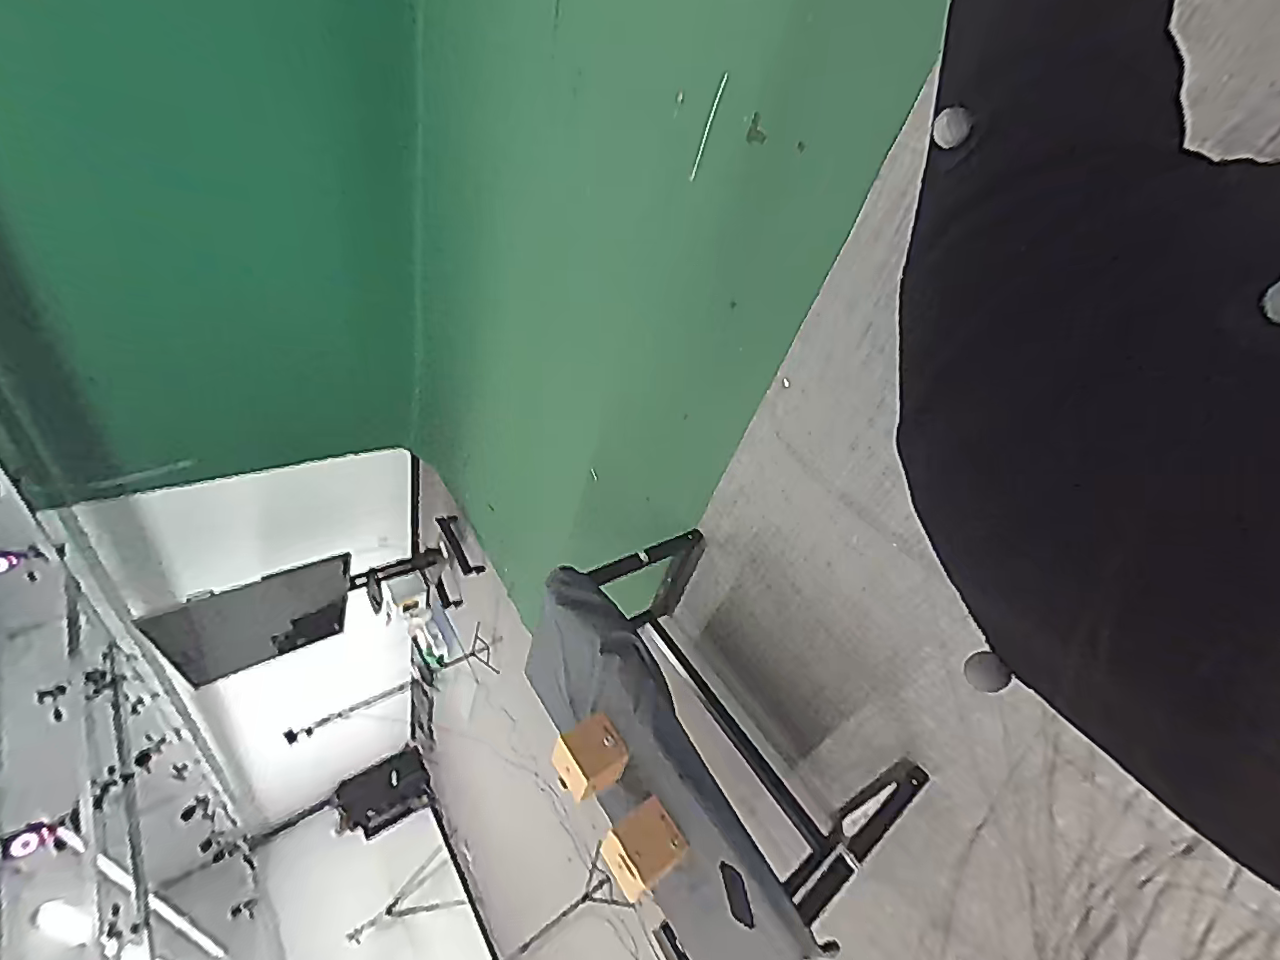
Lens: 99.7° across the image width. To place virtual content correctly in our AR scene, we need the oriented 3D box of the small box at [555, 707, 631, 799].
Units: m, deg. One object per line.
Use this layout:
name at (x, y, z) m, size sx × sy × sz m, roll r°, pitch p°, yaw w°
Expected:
small box at (-0.149, 0.867, 1.725) m, size 0.168 × 0.176 × 0.179 m, roll 44°, pitch 134°, yaw 31°

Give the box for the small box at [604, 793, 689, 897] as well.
small box at (0.021, 1.058, 1.578) m, size 0.168 × 0.176 × 0.179 m, roll 46°, pitch 137°, yaw 32°
